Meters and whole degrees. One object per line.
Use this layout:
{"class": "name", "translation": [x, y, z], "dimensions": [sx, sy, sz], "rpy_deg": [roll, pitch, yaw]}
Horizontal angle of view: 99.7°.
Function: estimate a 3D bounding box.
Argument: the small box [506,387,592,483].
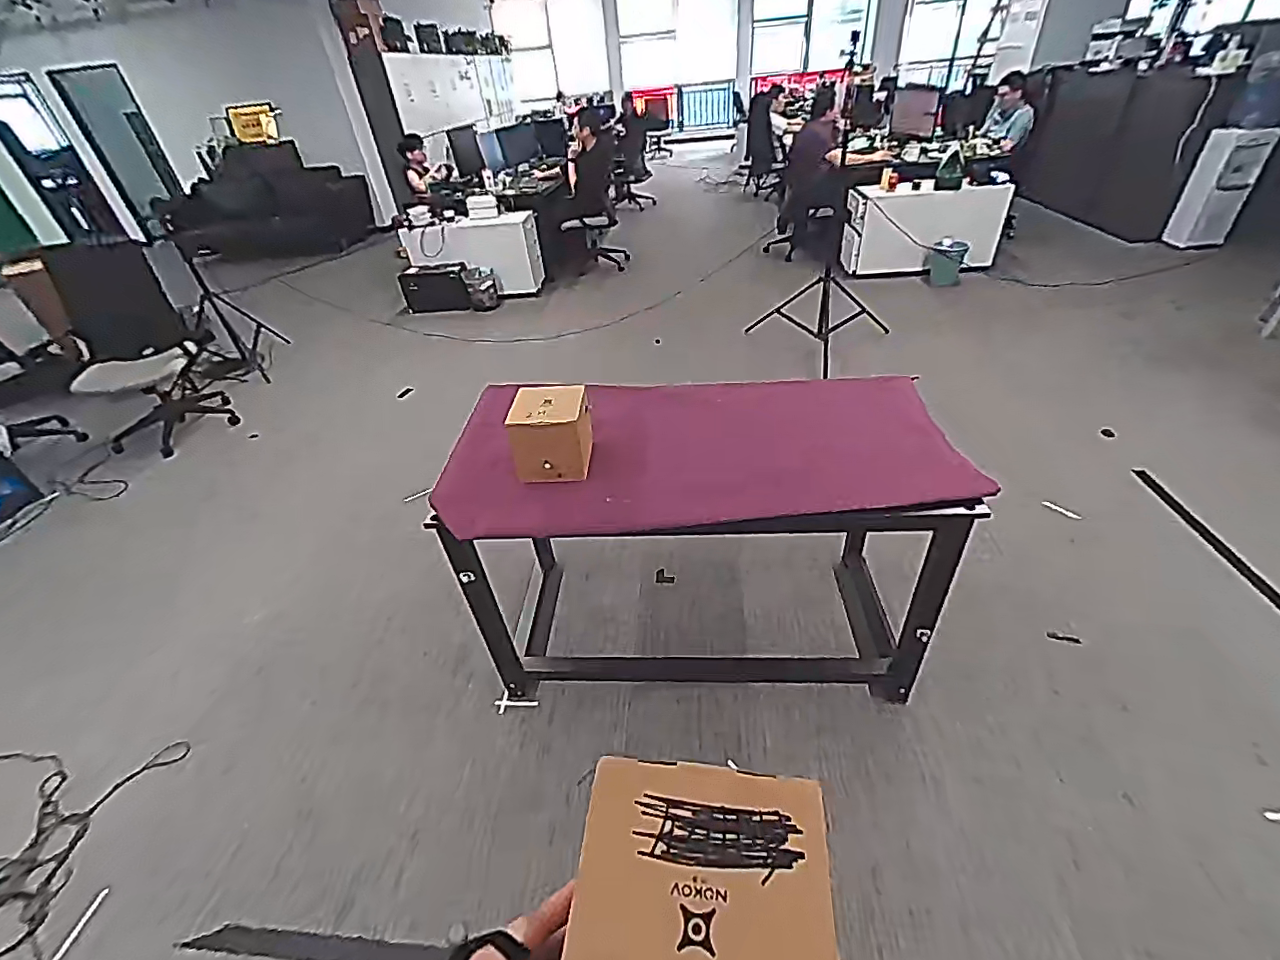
{"class": "small box", "translation": [-0.212, -0.110, 1.307], "dimensions": [0.168, 0.176, 0.179], "rpy_deg": [-2, 38, 3]}
